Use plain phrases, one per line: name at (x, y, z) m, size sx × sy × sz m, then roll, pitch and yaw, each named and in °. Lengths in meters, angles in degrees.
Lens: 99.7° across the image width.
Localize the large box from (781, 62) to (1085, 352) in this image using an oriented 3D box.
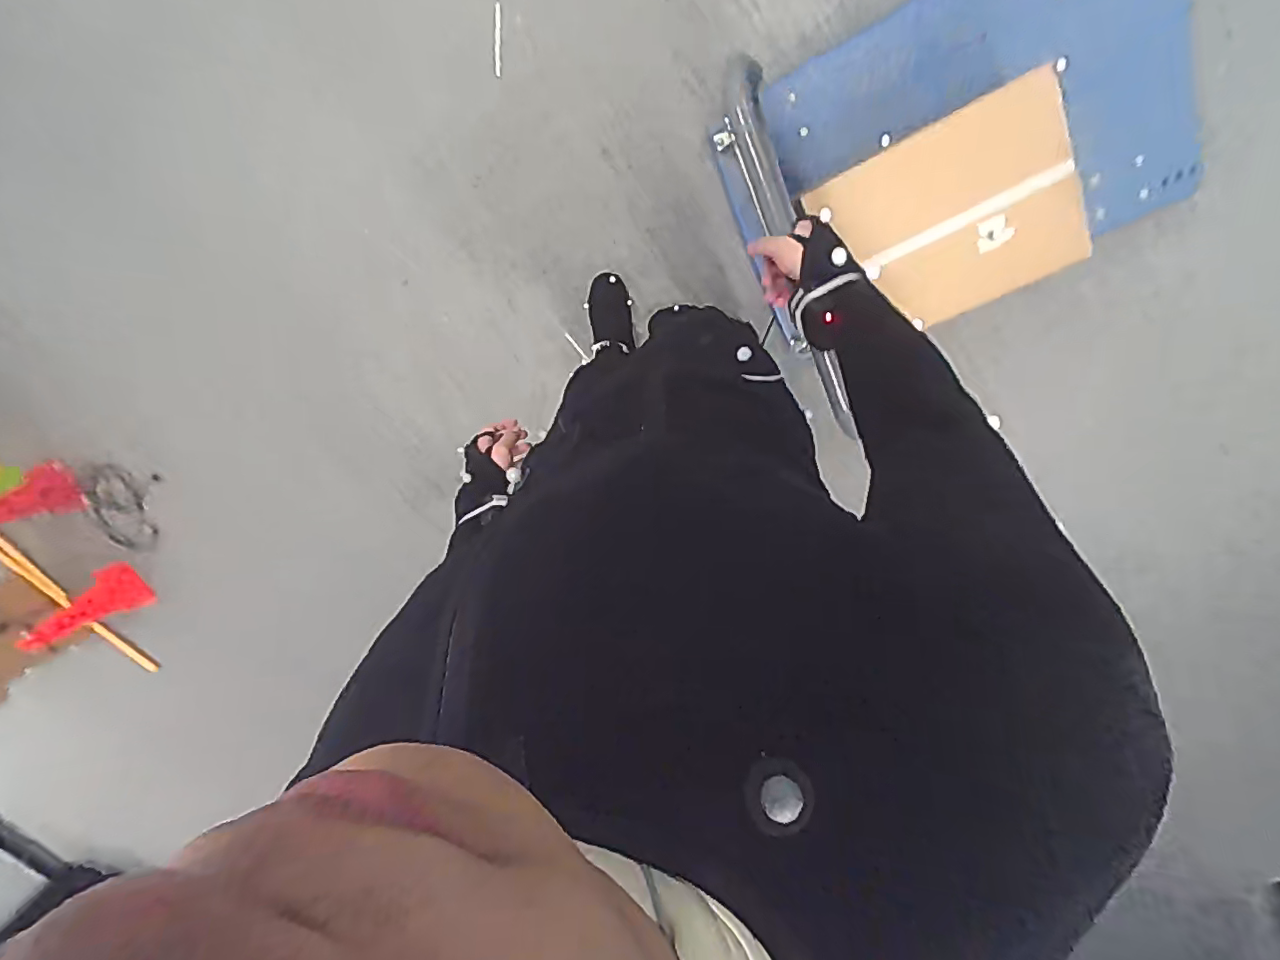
large box at (0.542, -0.507, 1.076) m, size 0.408 × 0.320 × 0.320 m, roll -24°, pitch 110°, yaw 16°
